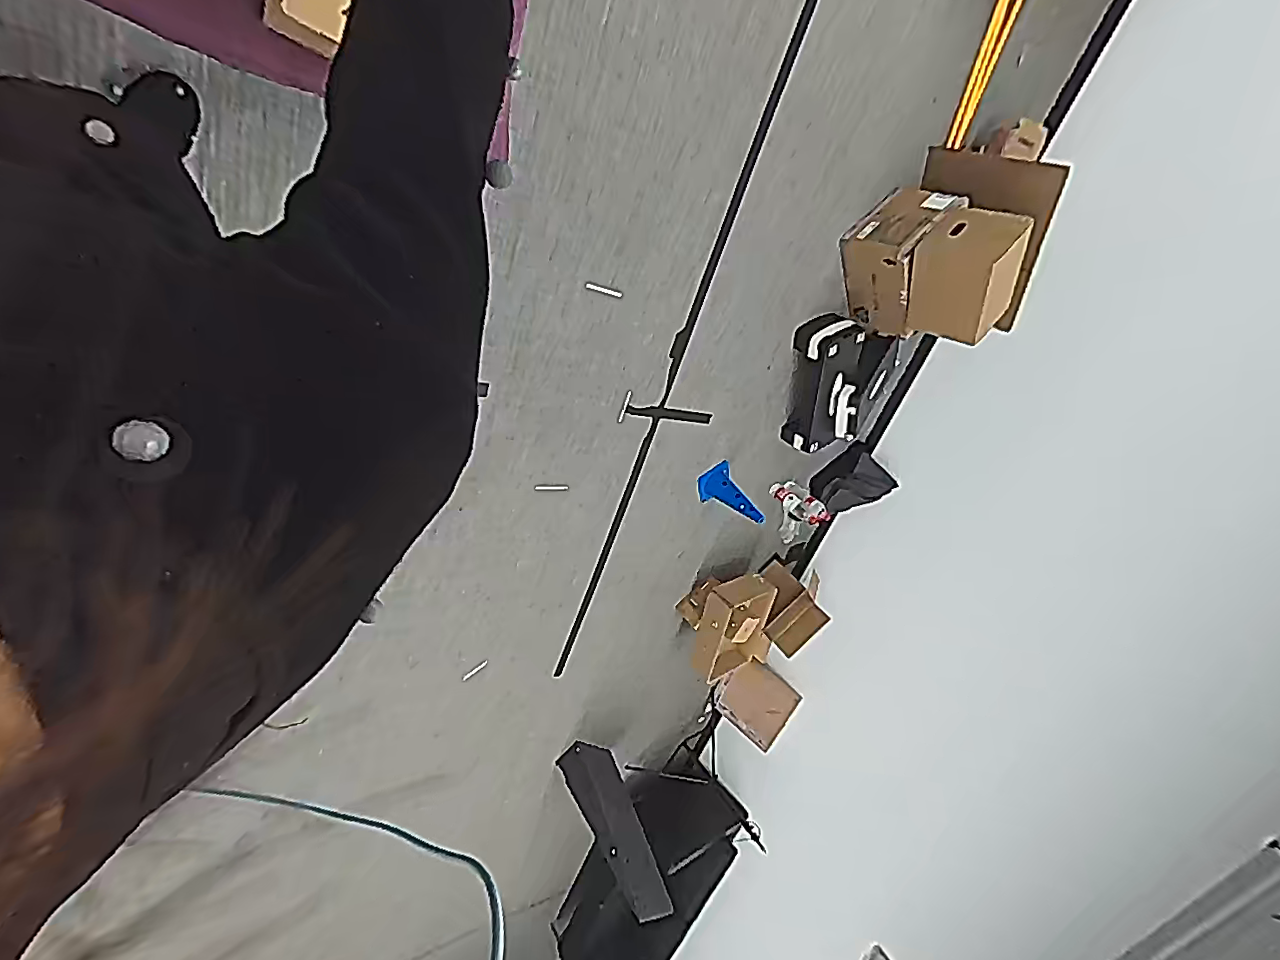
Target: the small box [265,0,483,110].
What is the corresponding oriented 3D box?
[{"bbox_3d":[-0.273,-0.524,0.560,0.168,0.176,0.179,6,116,-43],"label":"small box"}]
